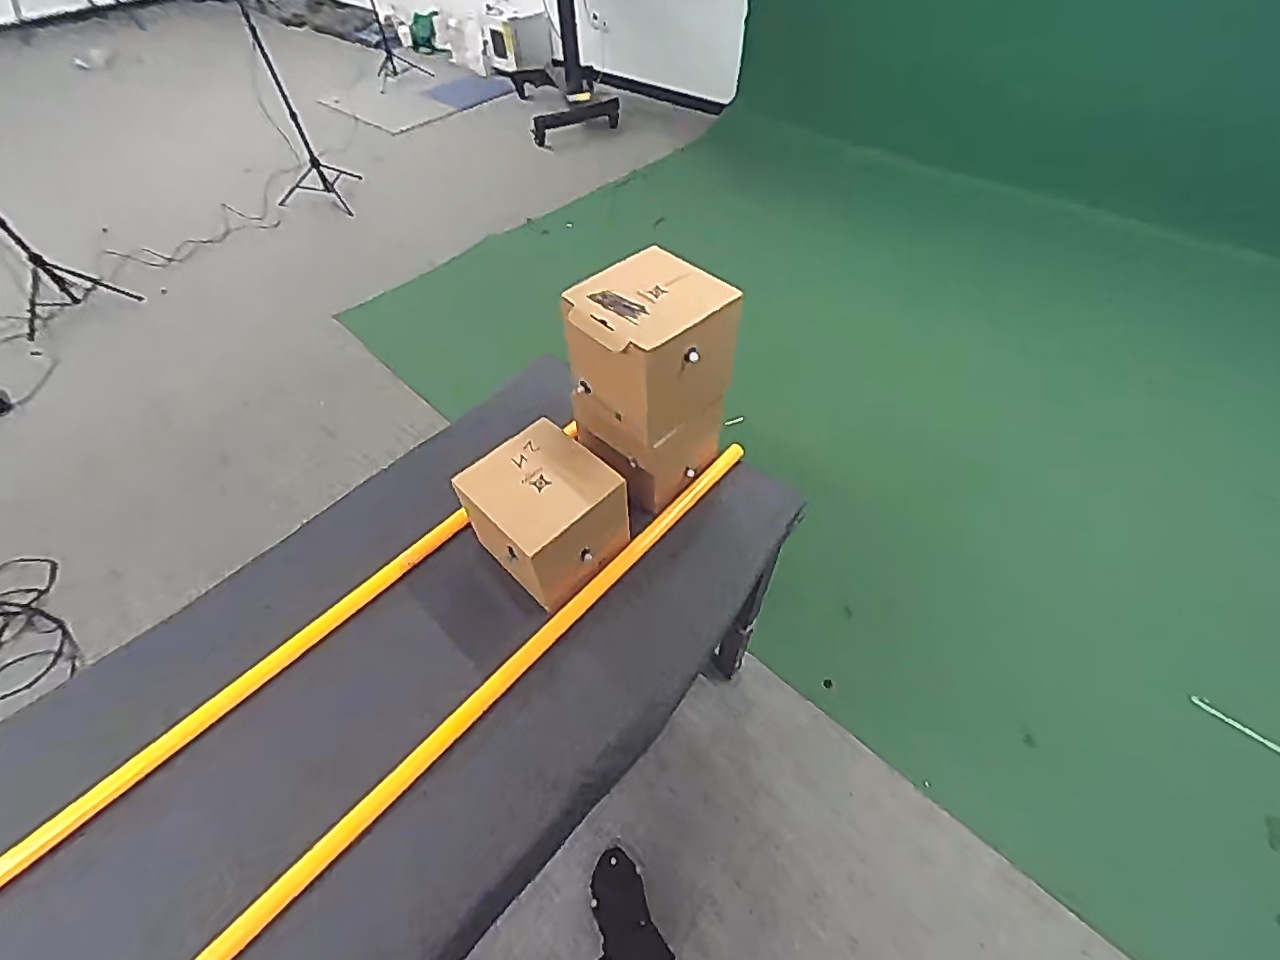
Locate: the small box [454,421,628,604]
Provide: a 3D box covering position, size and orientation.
[{"bbox_3d":[-0.130,0.054,0.779,0.179,0.176,0.168,37,61,26],"label":"small box"}]

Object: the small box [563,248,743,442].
[{"bbox_3d":[0.019,-0.184,0.751,0.179,0.176,0.168,-37,61,-25],"label":"small box"}]
